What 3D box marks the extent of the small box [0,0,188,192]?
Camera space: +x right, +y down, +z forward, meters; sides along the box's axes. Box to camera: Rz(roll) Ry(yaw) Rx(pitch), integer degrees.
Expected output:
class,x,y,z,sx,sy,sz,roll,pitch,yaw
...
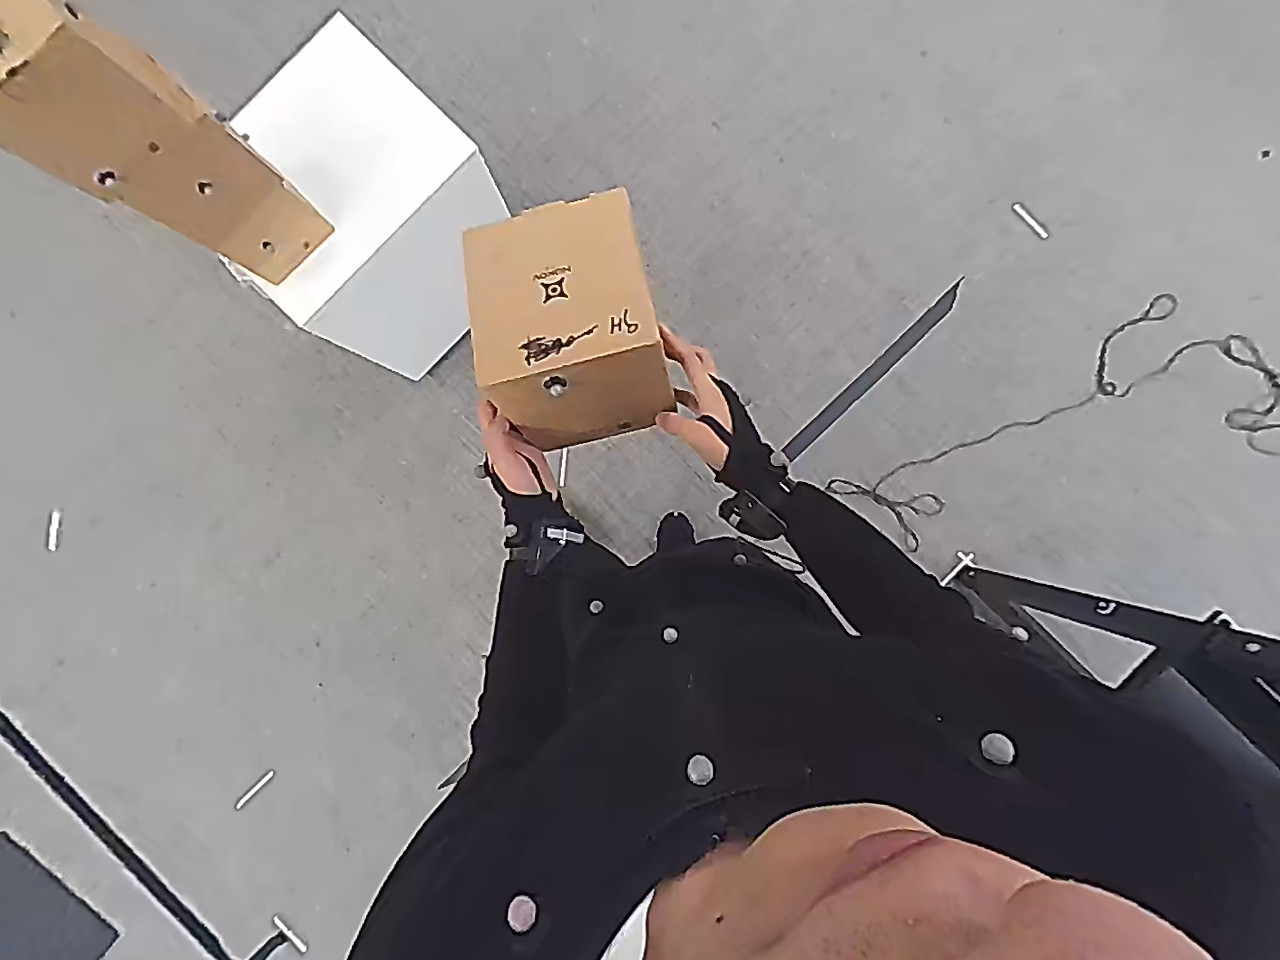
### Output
class,x,y,z,sx,sy,sz,roll,pitch,yaw
small box,-0.728,-0.494,0.666,0.168,0.176,0.179,-42,88,0

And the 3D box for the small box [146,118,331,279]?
class,x,y,z,sx,sy,sz,roll,pitch,yaw
small box,-0.721,-0.498,0.995,0.168,0.176,0.179,-45,89,-1

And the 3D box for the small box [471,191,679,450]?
class,x,y,z,sx,sy,sz,roll,pitch,yaw
small box,-0.059,-0.153,0.564,0.168,0.176,0.179,-13,71,6
